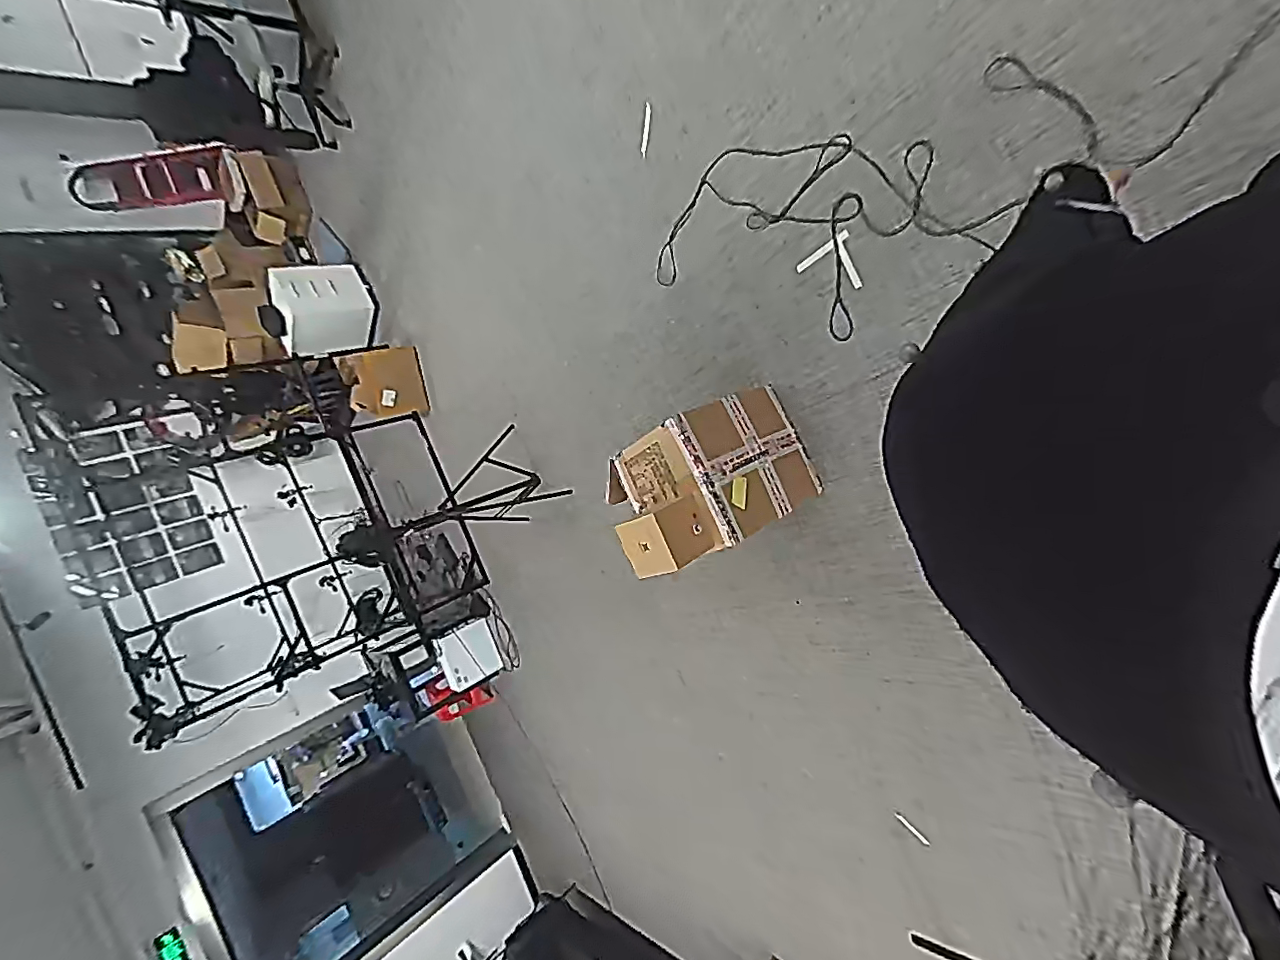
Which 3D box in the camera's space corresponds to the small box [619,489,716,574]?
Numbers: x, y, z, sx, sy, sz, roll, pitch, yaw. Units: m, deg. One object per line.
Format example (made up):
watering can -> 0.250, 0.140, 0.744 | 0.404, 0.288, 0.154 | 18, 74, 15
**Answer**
small box -> 0.080, 0.143, 1.510 | 0.179, 0.176, 0.168 | -25, 90, 47
